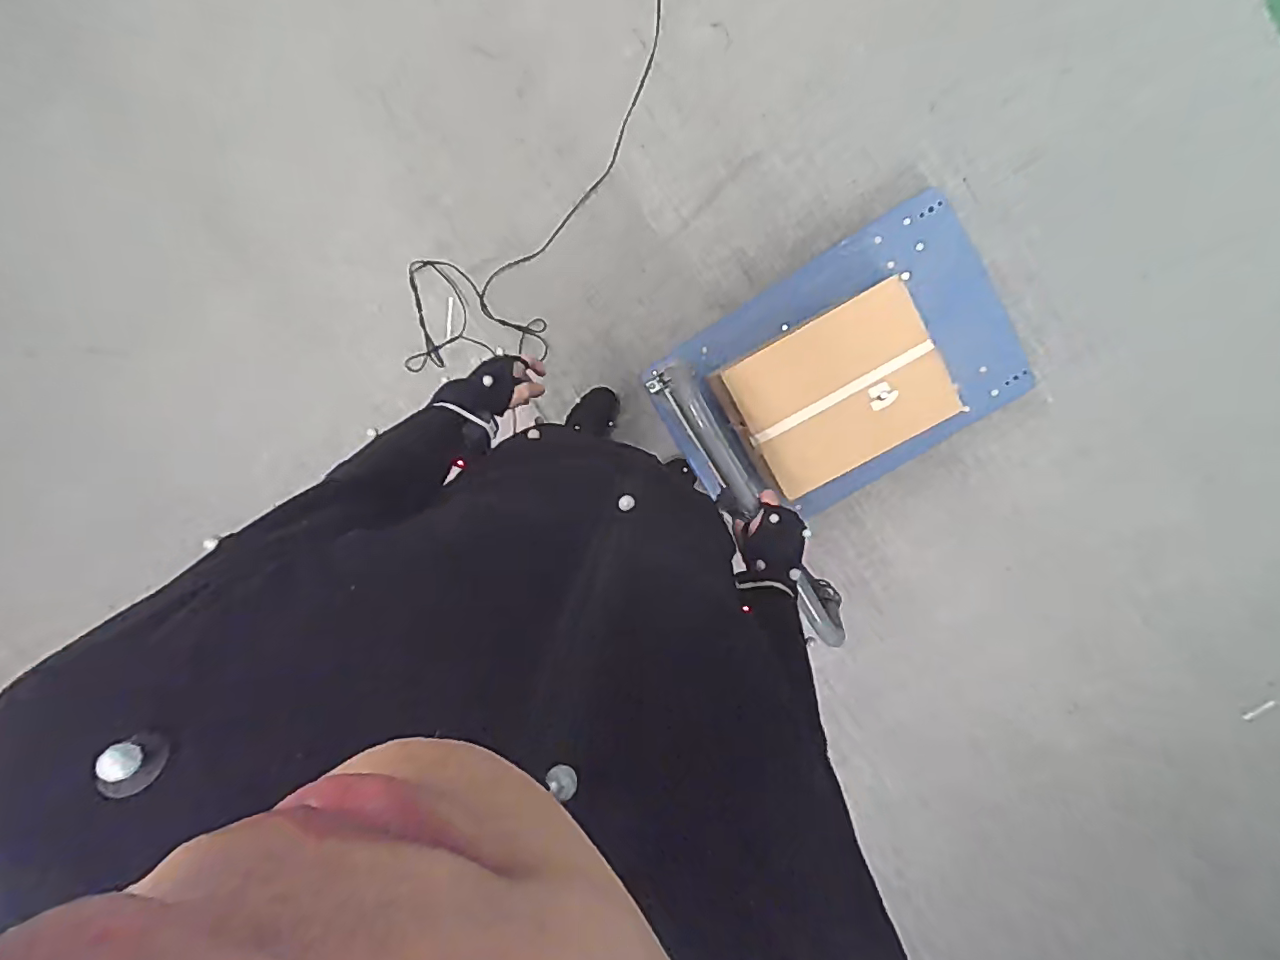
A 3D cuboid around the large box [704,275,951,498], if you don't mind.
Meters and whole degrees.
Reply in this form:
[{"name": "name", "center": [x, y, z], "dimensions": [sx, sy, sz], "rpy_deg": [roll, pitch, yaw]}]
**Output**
[{"name": "large box", "center": [0.405, -0.208, 1.267], "dimensions": [0.408, 0.320, 0.320], "rpy_deg": [-29, 99, 5]}]
